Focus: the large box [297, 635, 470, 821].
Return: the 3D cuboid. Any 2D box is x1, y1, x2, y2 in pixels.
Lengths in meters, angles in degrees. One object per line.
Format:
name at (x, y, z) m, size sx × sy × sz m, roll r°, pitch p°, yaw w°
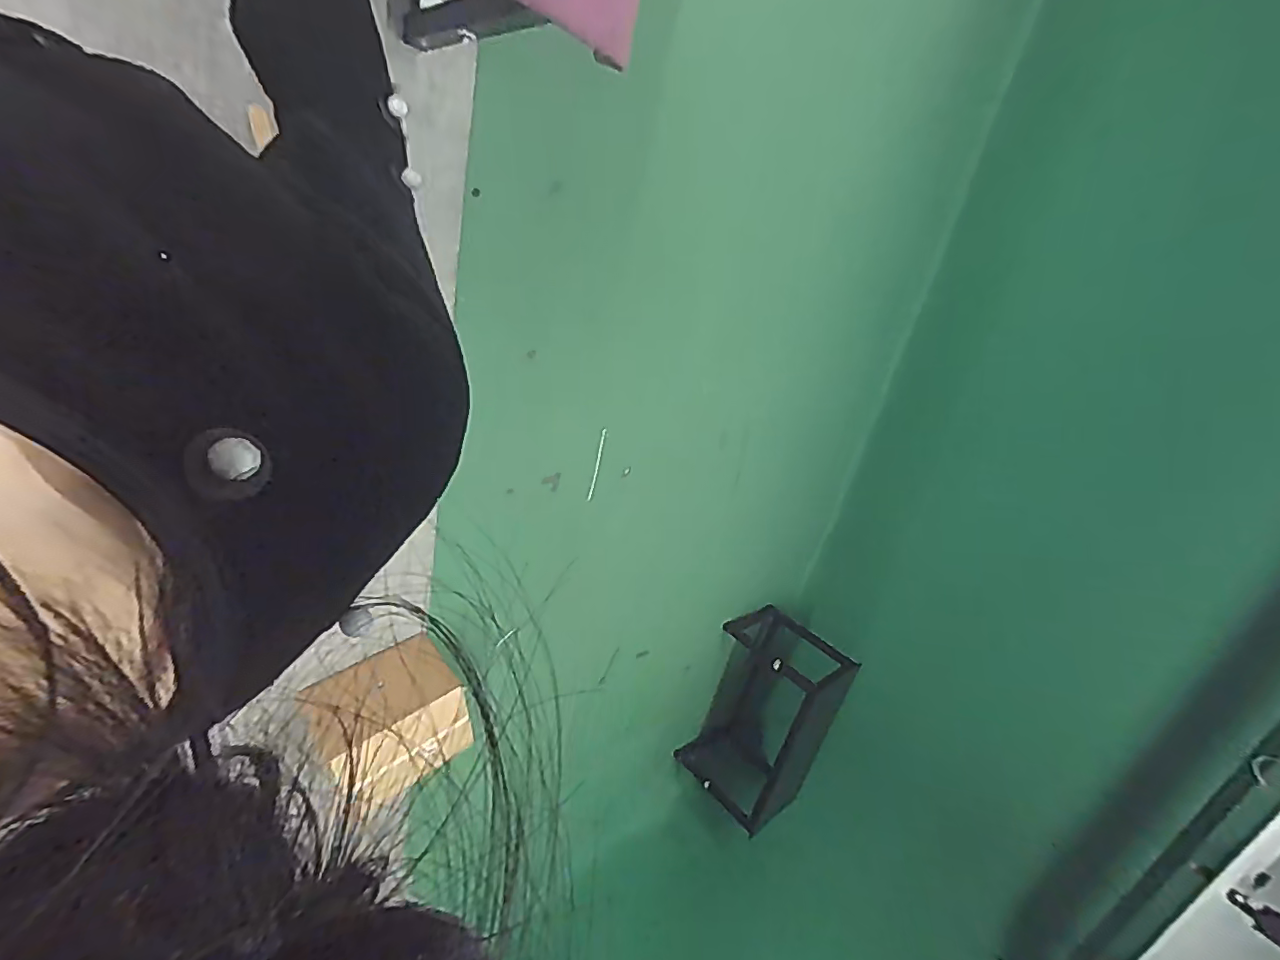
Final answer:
large box at (-0.838, 0.801, 1.798) m, size 0.408 × 0.320 × 0.320 m, roll -24°, pitch 130°, yaw -37°
